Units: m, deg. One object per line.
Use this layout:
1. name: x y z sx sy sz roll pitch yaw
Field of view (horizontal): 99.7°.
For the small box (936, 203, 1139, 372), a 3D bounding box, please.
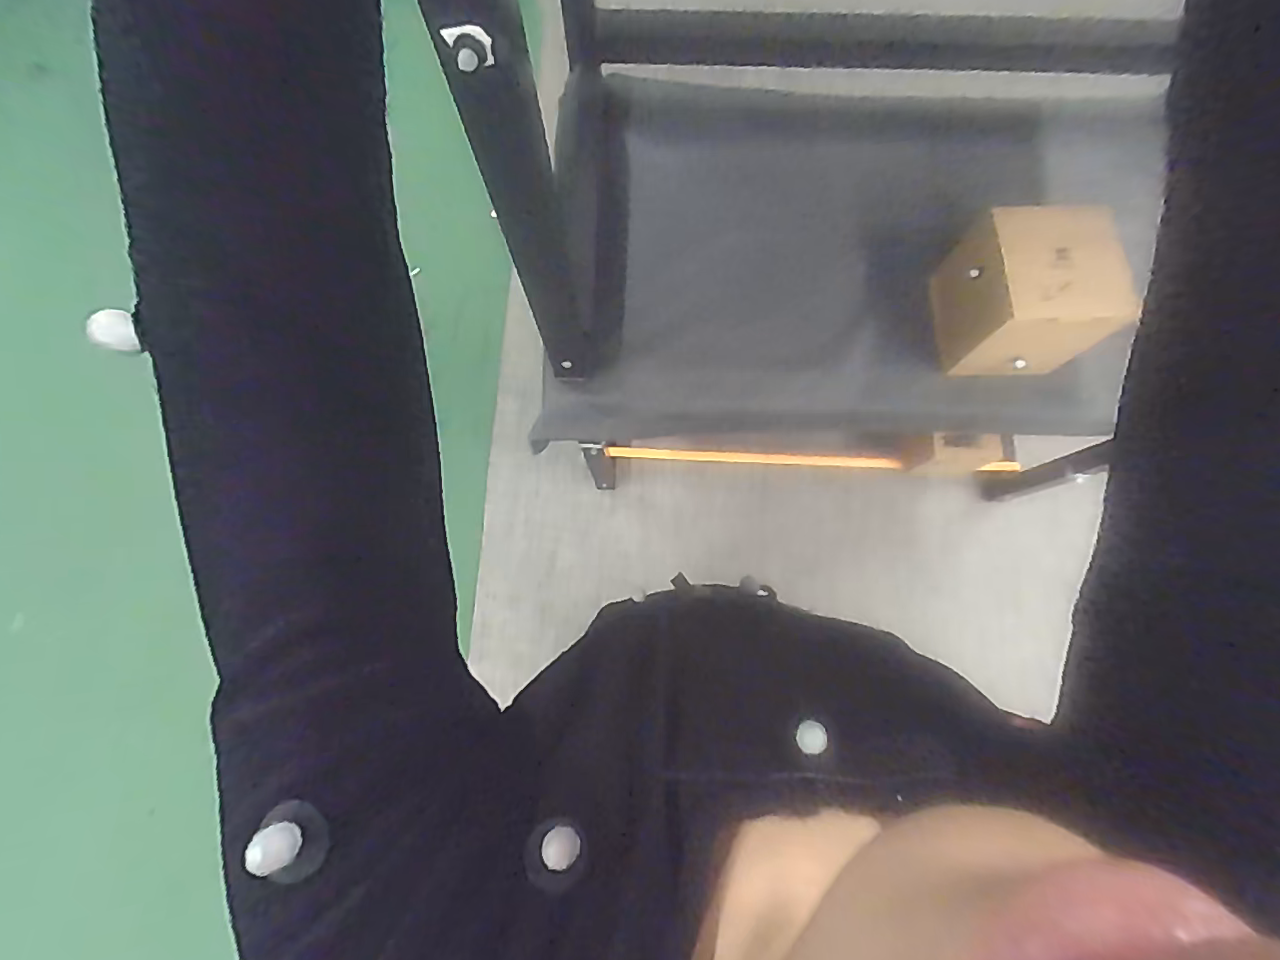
1. small box: 0.565 -0.278 0.799 0.168 0.176 0.179 -1 75 1
